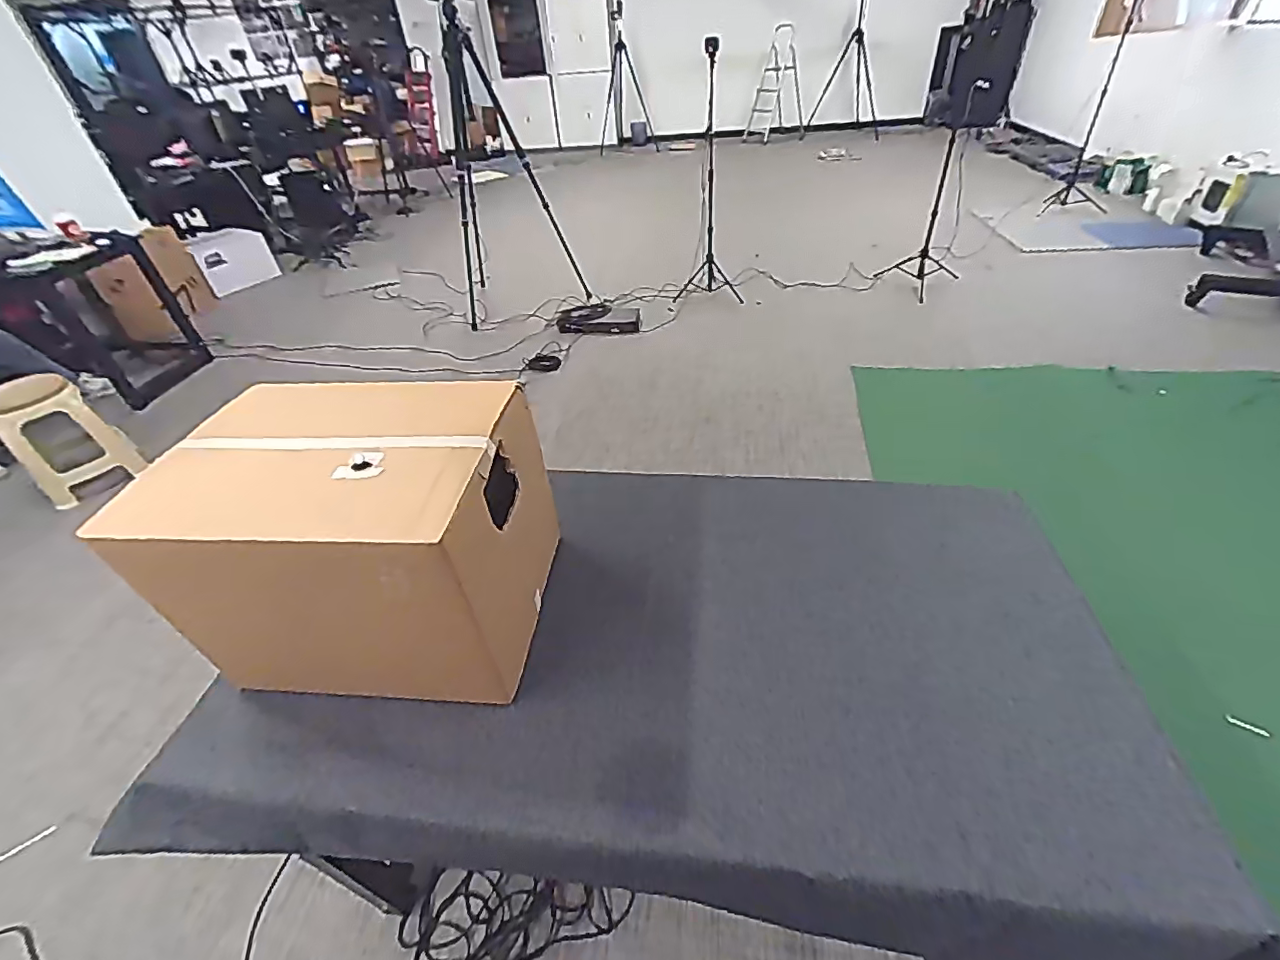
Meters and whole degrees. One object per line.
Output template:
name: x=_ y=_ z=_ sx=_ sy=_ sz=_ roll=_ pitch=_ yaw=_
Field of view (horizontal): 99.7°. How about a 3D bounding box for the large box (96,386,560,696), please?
large box: x=-0.354 y=0.078 z=0.752 sx=0.408 sy=0.320 sz=0.320 roll=1 pitch=40 yaw=5
